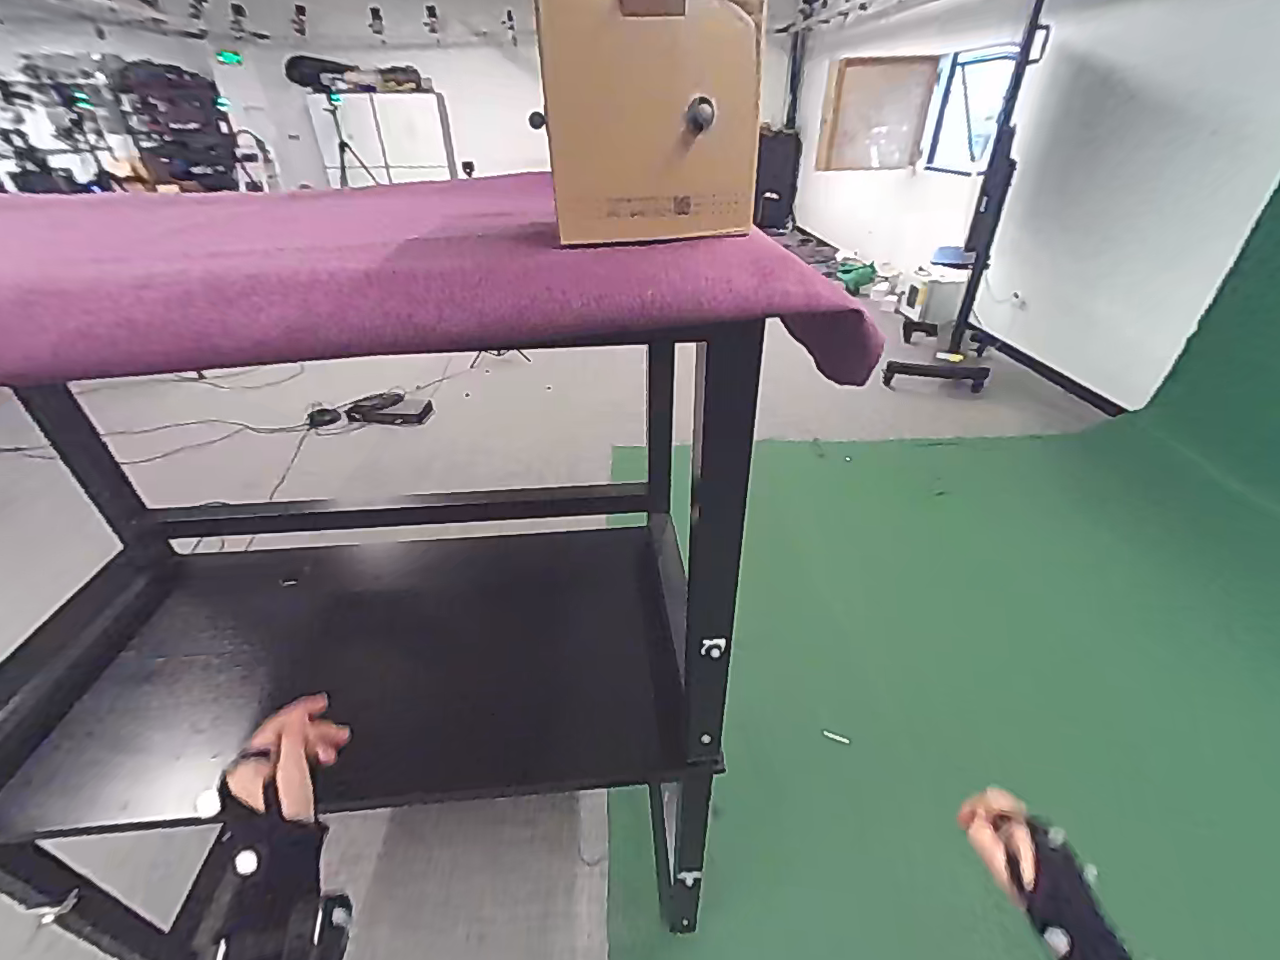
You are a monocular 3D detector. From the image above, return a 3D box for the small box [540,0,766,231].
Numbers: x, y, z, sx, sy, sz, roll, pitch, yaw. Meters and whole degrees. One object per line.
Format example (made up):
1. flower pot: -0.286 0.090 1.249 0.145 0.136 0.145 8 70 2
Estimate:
1. small box: 0.007 -0.321 0.481 0.168 0.176 0.179 -4 32 -4
